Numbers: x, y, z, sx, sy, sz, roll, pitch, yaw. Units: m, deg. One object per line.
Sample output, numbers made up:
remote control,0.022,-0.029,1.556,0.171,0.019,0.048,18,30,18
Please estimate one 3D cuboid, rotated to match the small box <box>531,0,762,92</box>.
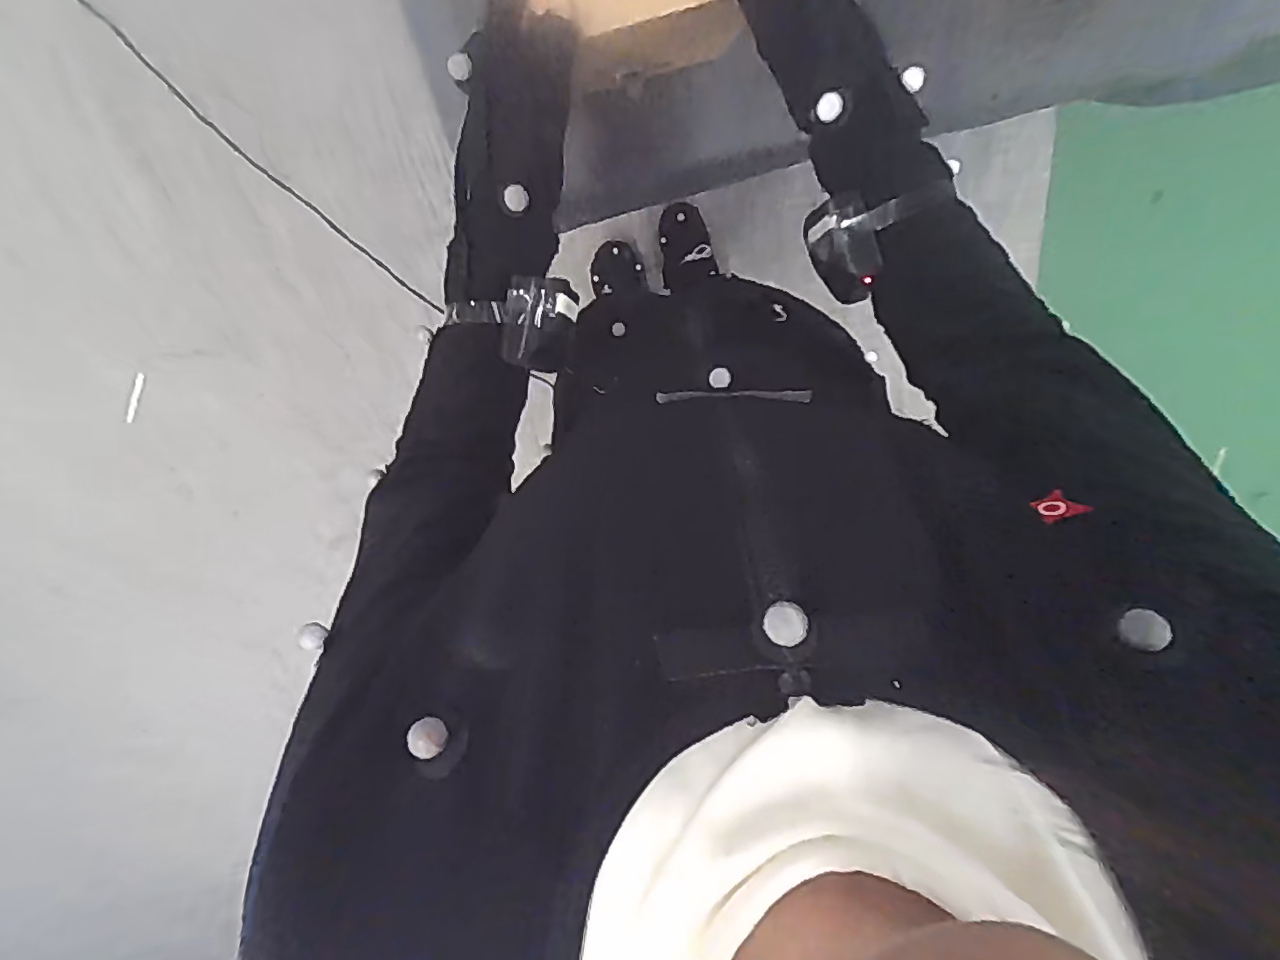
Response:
small box,-0.011,-0.421,0.394,0.168,0.176,0.179,-15,116,1
